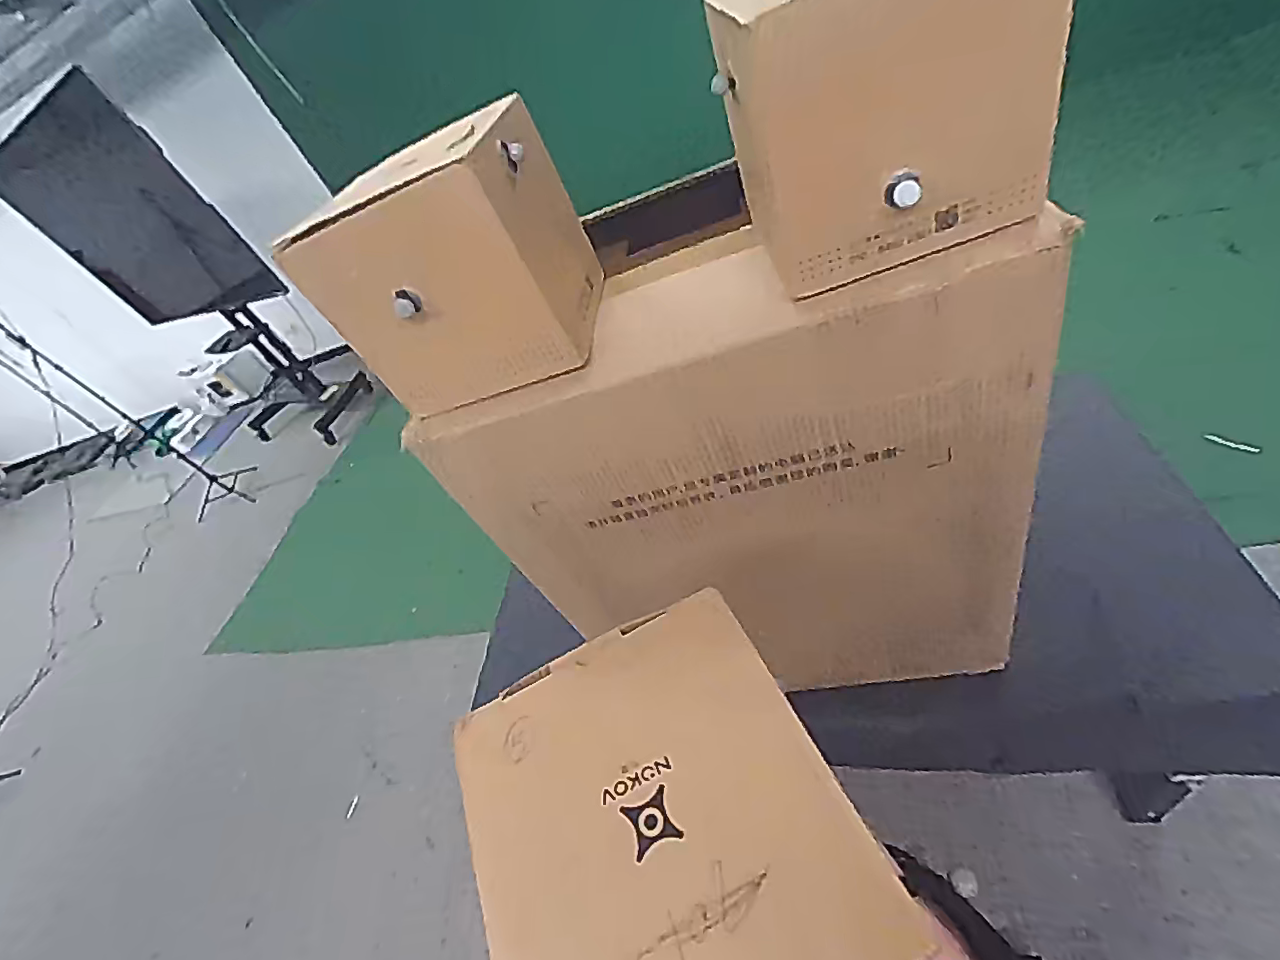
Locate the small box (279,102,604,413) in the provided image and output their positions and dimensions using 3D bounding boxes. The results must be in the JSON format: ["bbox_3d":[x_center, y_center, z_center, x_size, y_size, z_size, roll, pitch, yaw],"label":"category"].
[{"bbox_3d":[-0.152,-0.183,0.476,0.179,0.176,0.168,-15,44,19],"label":"small box"}]

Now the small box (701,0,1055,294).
[{"bbox_3d":[0.151,-0.263,0.385,0.168,0.176,0.179,-17,44,13],"label":"small box"}]

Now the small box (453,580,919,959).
[{"bbox_3d":[0.019,0.197,0.312,0.168,0.176,0.179,-27,50,-6],"label":"small box"}]
